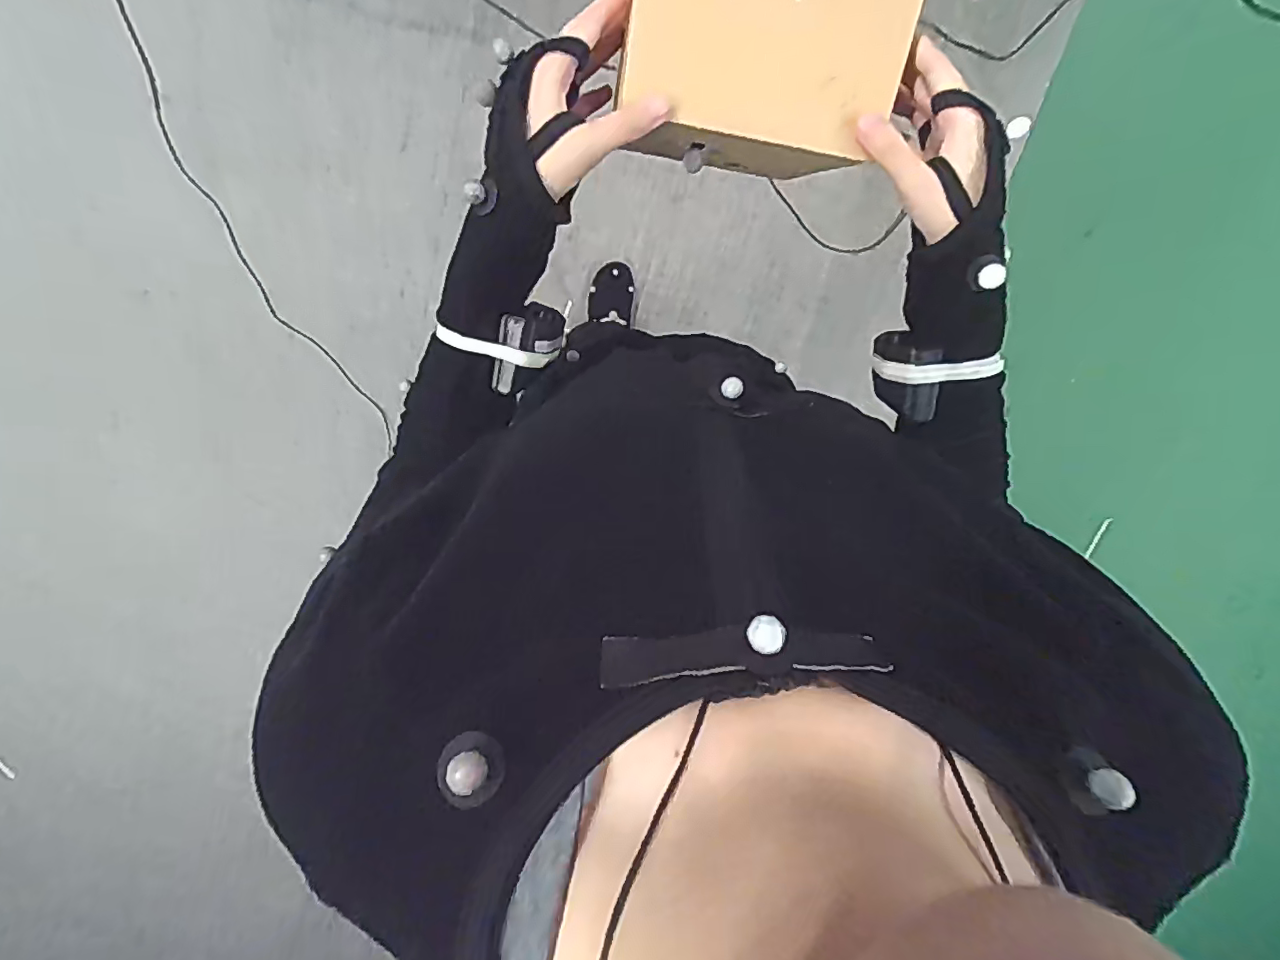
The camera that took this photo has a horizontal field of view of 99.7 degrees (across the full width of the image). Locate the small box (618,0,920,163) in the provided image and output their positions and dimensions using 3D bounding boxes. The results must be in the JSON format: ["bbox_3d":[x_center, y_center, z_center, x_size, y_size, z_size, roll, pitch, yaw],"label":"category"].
[{"bbox_3d":[0.077,-0.332,0.365,0.168,0.176,0.179,6,113,-8],"label":"small box"}]

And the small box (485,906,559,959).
[{"bbox_3d":[-0.322,1.283,1.443,0.179,0.176,0.168,13,105,-10],"label":"small box"}]
